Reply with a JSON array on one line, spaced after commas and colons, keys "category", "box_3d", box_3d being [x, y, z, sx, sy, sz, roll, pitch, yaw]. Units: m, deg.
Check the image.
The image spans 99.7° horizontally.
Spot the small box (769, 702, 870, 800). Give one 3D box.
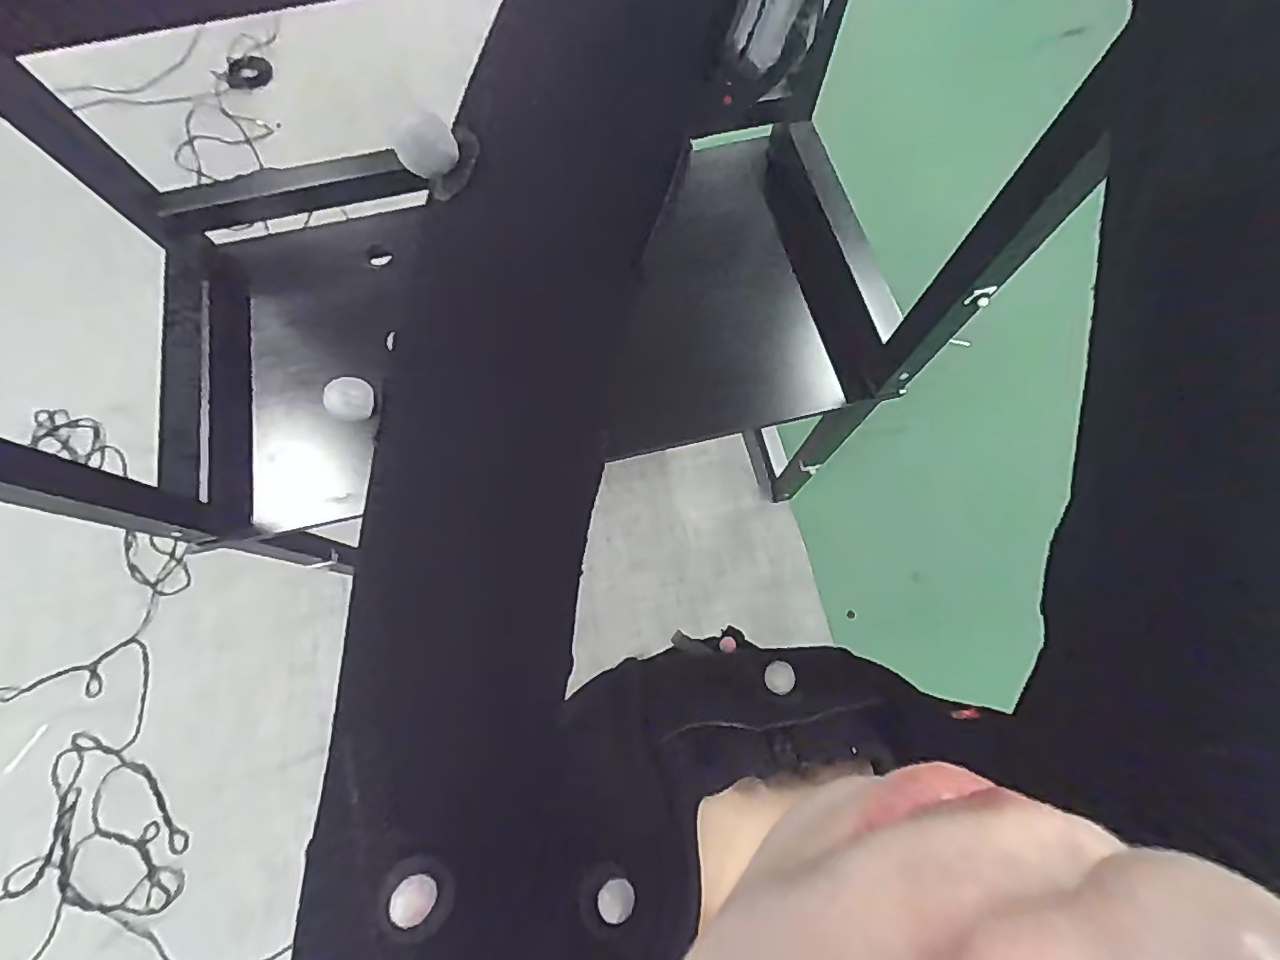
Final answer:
[{"category": "small box", "box_3d": [0.427, 0.656, 1.327, 0.179, 0.176, 0.168, -14, 73, -2]}]
